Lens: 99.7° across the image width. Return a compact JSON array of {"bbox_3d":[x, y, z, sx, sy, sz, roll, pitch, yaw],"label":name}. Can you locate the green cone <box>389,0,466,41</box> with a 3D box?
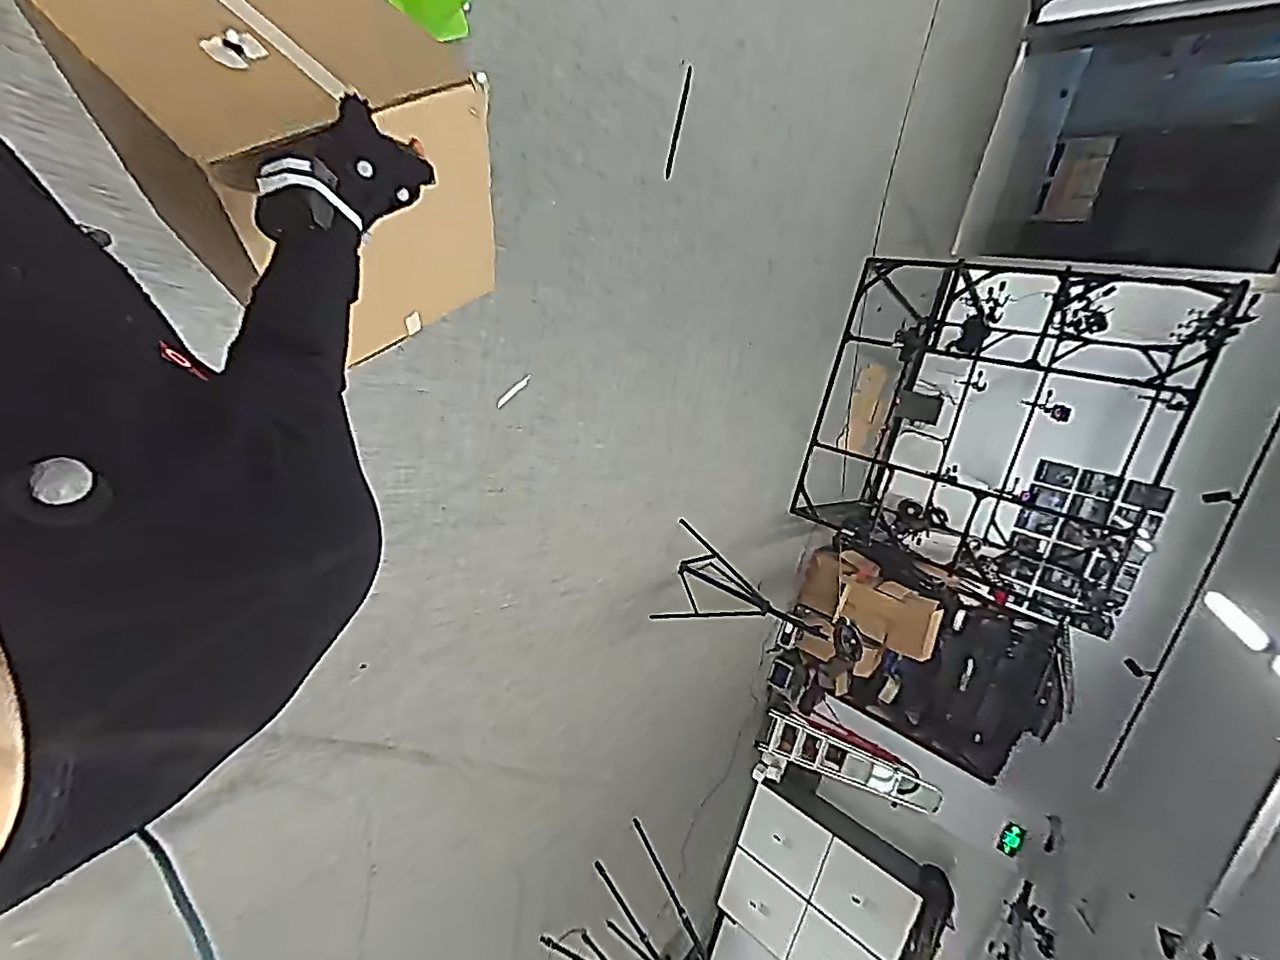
[{"bbox_3d":[-0.389,-1.127,1.190,0.202,0.368,0.200,-45,140,-32],"label":"green cone"}]

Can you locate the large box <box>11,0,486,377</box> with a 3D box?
[{"bbox_3d":[-0.454,-0.420,0.709,0.320,0.408,0.320,-41,169,-28],"label":"large box"}]
